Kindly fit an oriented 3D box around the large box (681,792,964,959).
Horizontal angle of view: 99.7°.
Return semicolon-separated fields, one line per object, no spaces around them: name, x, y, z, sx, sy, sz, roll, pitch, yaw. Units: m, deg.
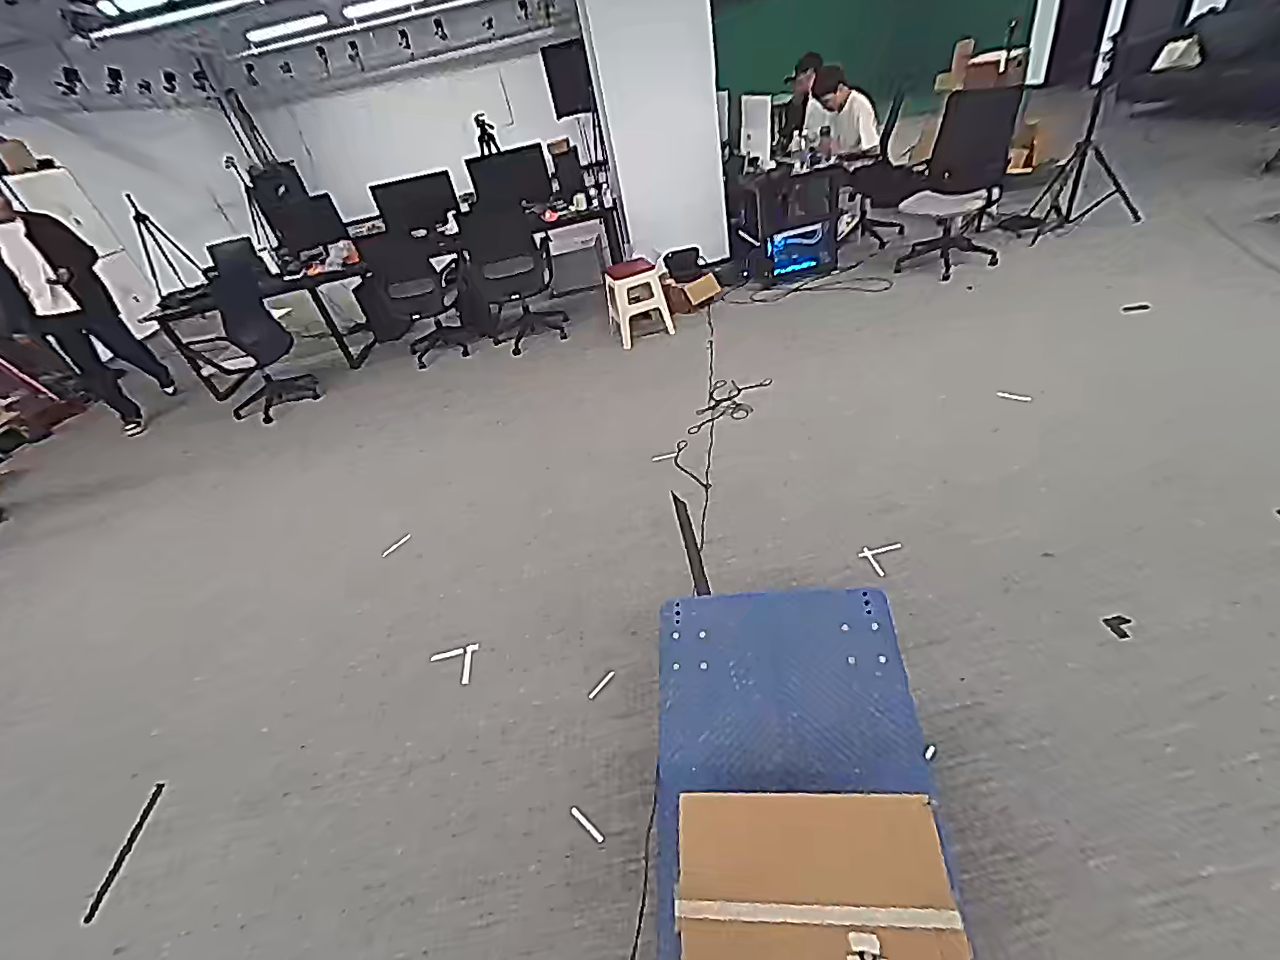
large box;0.291;0.743;0.942;0.408;0.320;0.320;-5;54;10
